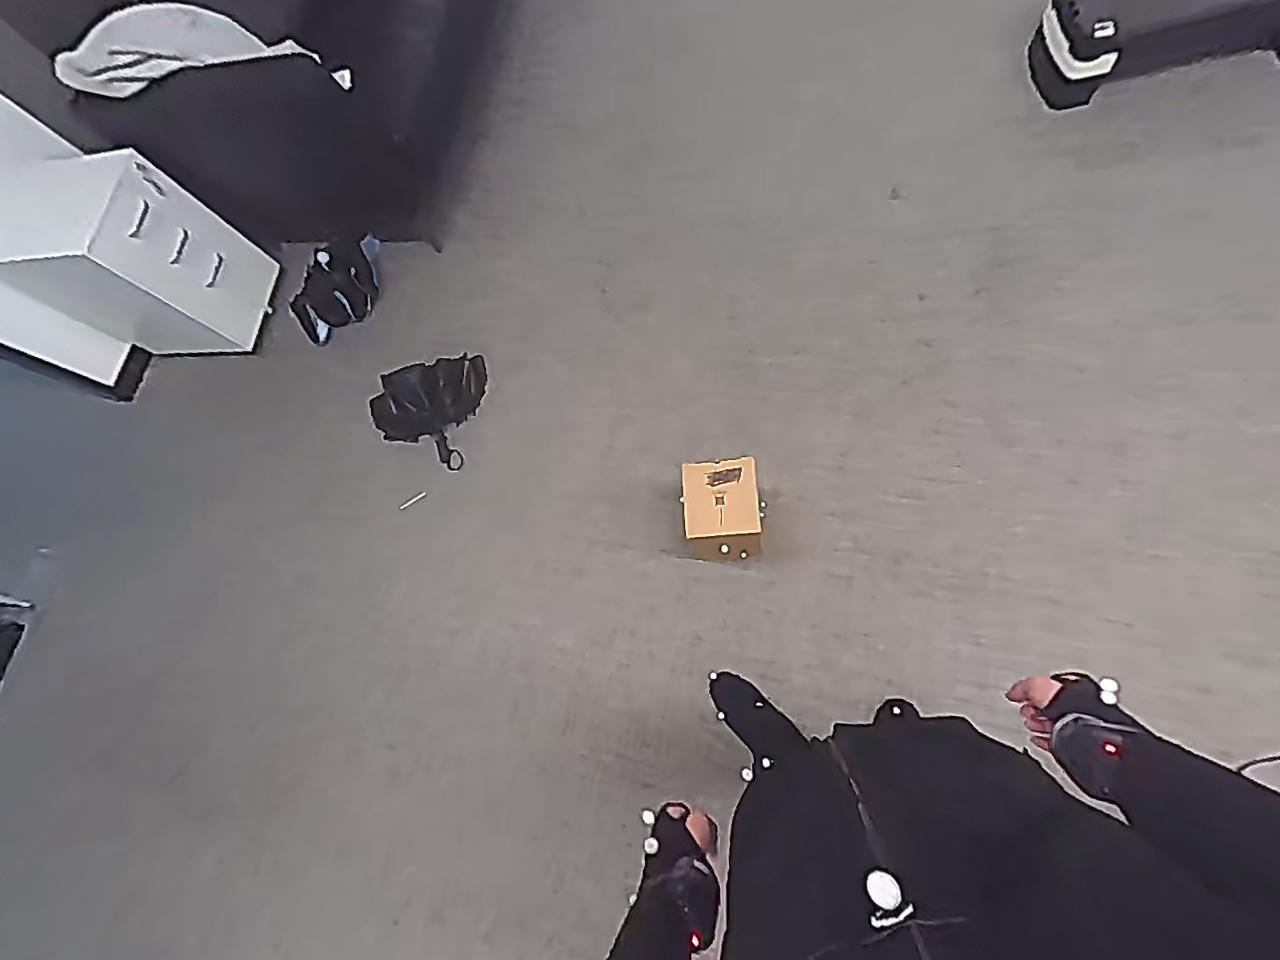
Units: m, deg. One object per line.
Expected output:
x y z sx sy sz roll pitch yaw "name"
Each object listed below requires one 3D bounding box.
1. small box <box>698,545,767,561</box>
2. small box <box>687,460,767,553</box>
0.241 0.113 1.422 0.168 0.176 0.179 -7 70 12 "small box"
0.206 0.067 1.268 0.168 0.176 0.179 -6 72 13 "small box"
